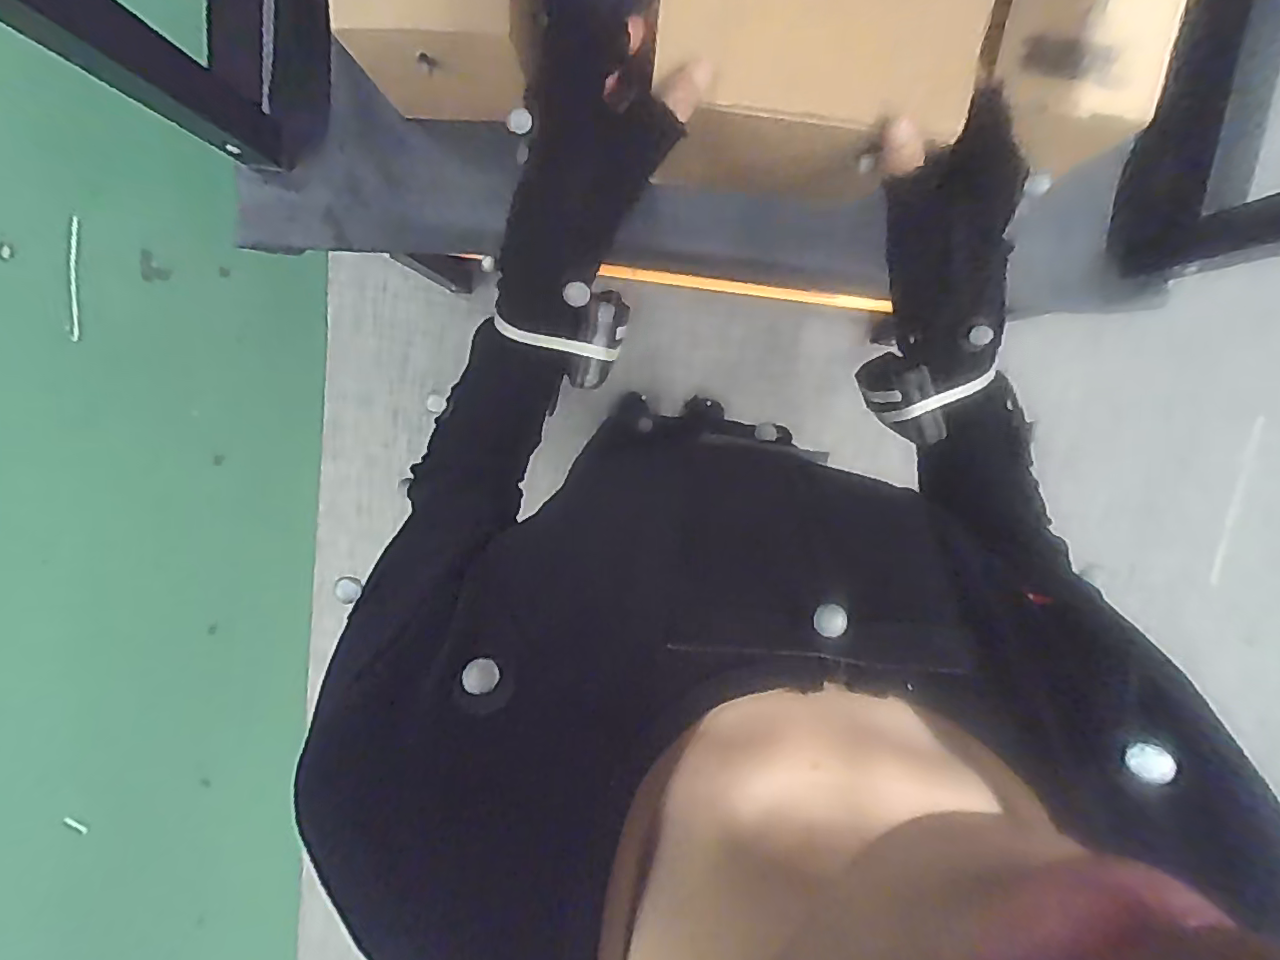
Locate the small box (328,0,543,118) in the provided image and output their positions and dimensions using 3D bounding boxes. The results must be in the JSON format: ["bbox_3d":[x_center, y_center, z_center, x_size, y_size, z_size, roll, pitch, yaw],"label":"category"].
[{"bbox_3d":[-0.210,-0.524,0.588,0.179,0.176,0.168,2,99,-1],"label":"small box"}]
